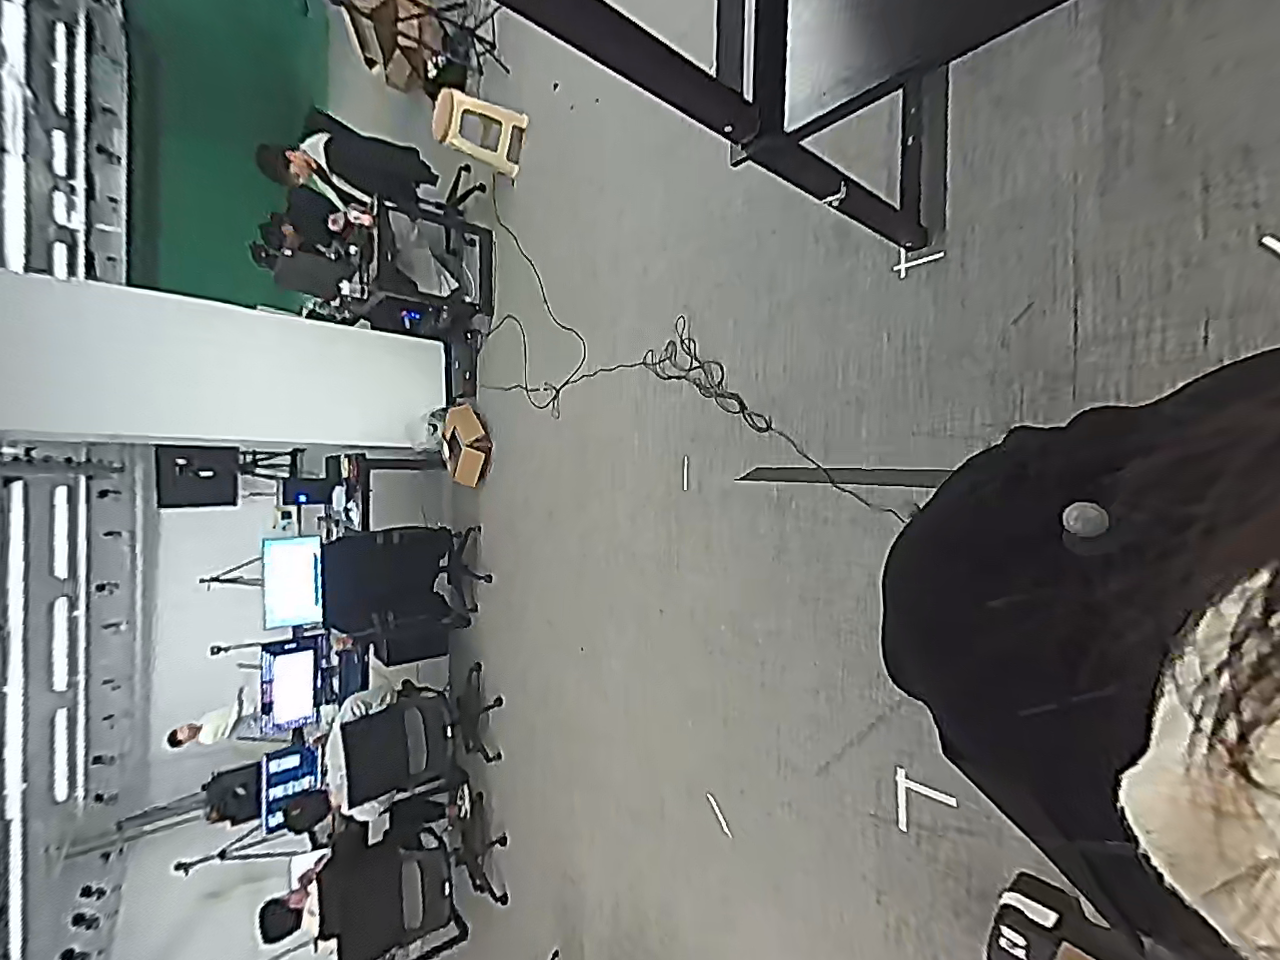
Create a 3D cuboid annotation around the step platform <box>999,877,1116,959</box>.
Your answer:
[{"bbox_3d":[1.050,1.098,0.974,0.684,0.204,0.286,12,99,50],"label":"step platform"}]
